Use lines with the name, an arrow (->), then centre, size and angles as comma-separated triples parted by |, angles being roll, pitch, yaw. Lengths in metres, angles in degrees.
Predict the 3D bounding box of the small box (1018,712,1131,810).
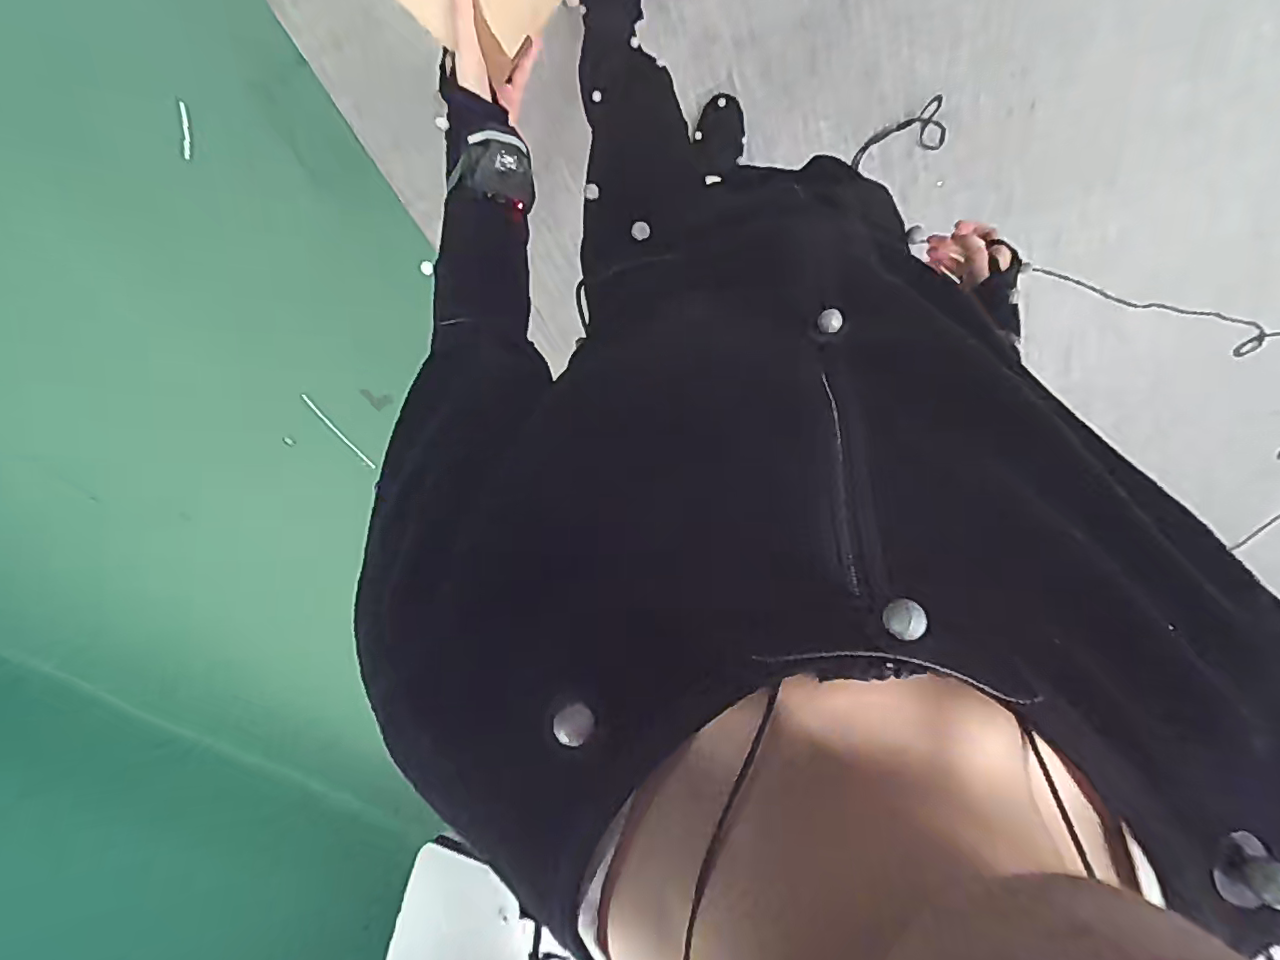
small box -> 1.107, 0.724, 1.394 | 0.168, 0.176, 0.179 | -19, 129, 16

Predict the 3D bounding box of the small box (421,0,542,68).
small box -> -0.137, -0.520, 0.462 | 0.179, 0.176, 0.168 | 33, 135, -31
